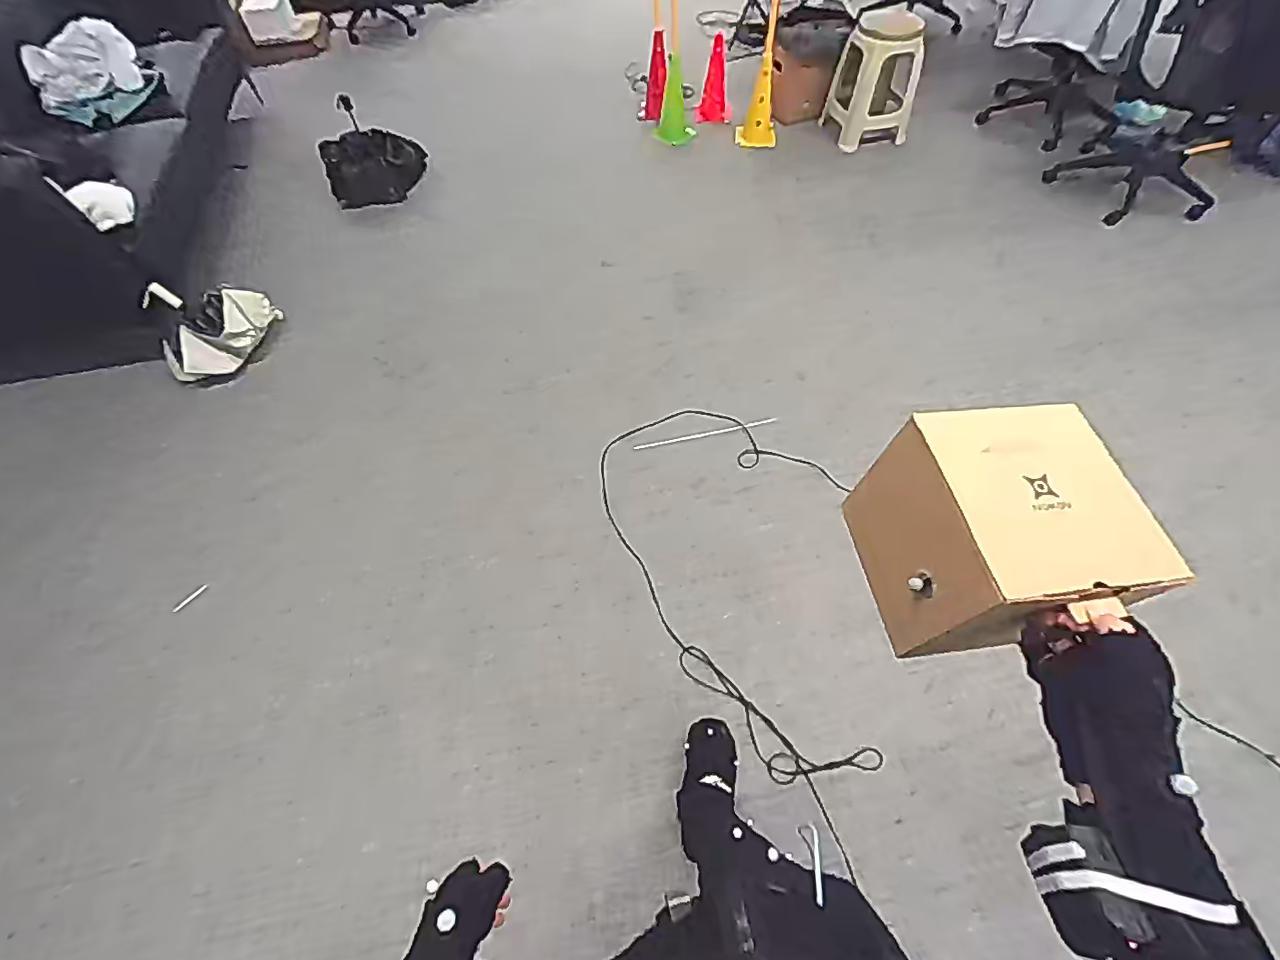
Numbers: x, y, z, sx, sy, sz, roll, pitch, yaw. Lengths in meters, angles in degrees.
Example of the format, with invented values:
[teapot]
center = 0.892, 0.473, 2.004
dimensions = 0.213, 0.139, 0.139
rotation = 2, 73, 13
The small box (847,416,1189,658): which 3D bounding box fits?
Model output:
[small box]
center = 0.327, 0.062, 0.515
dimensions = 0.168, 0.176, 0.179
rotation = -4, 58, -7
